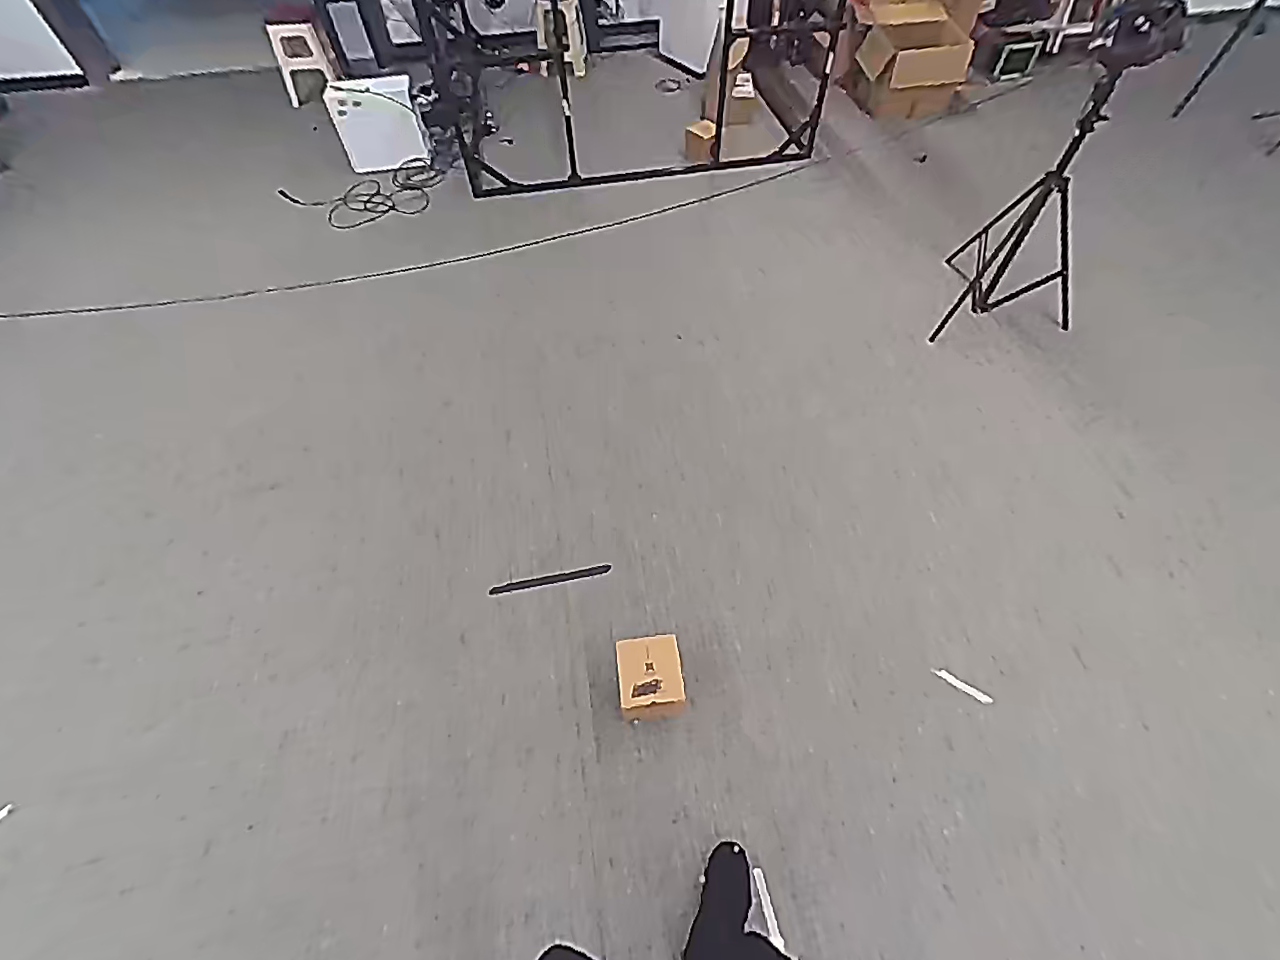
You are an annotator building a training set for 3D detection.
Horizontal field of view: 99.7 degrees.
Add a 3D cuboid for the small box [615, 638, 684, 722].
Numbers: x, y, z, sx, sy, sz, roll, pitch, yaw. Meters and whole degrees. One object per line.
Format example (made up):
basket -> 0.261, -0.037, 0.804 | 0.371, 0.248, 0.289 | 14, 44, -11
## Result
small box -> 0.025, 0.548, 1.468 | 0.168, 0.176, 0.179 | -6, 54, -3
